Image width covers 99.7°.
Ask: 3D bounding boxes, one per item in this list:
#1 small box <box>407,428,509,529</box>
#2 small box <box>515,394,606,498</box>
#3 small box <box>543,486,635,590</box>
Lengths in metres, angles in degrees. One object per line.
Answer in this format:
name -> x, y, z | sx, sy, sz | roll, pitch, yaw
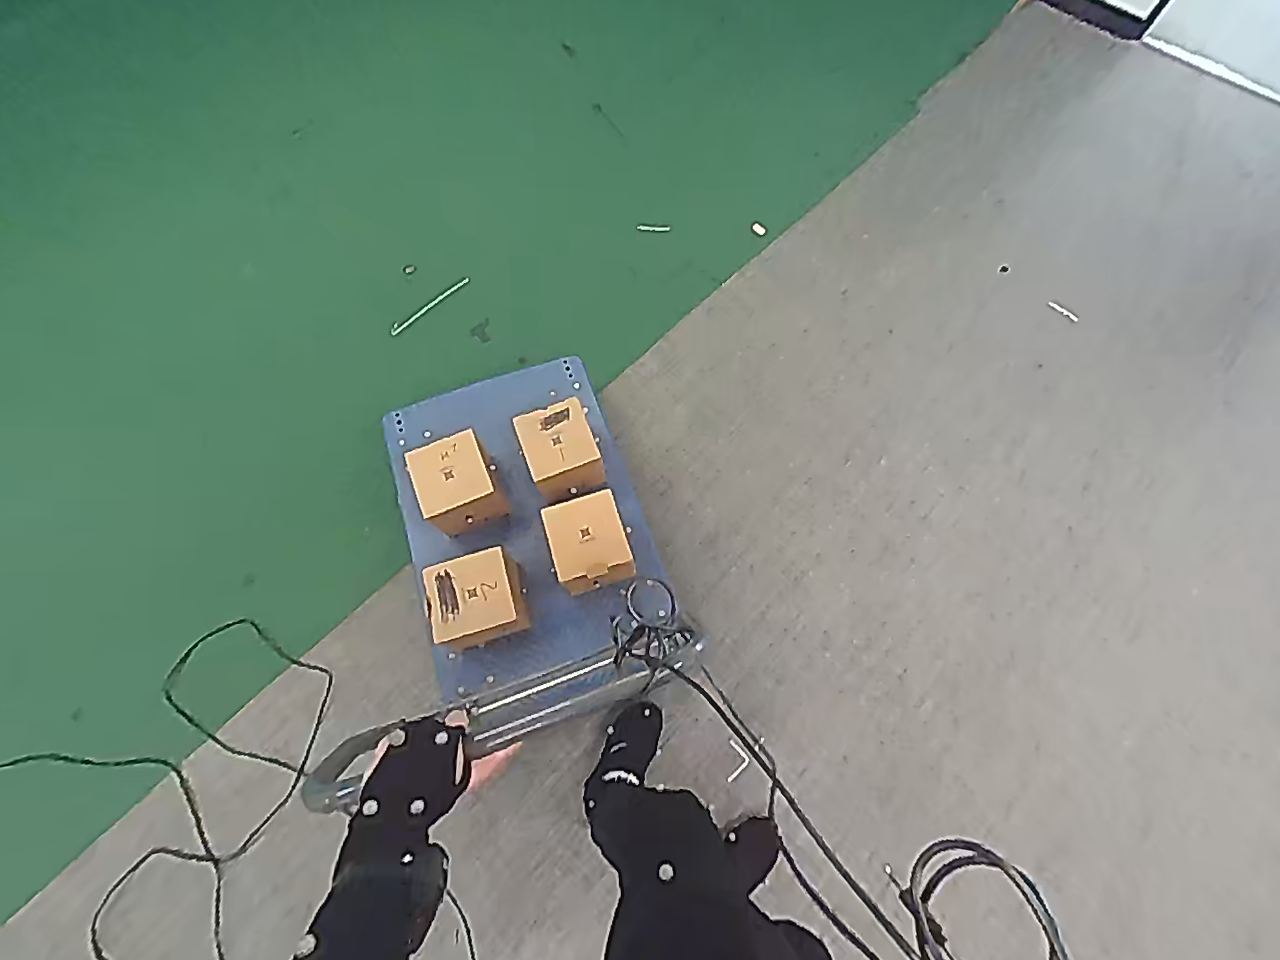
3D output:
small box -> -0.433, 0.005, 1.310 | 0.168, 0.176, 0.179 | -22, 72, -7
small box -> -0.192, -0.078, 1.334 | 0.168, 0.176, 0.179 | -21, 72, -5
small box -> -0.115, 0.140, 1.256 | 0.168, 0.176, 0.179 | -18, 72, -5
